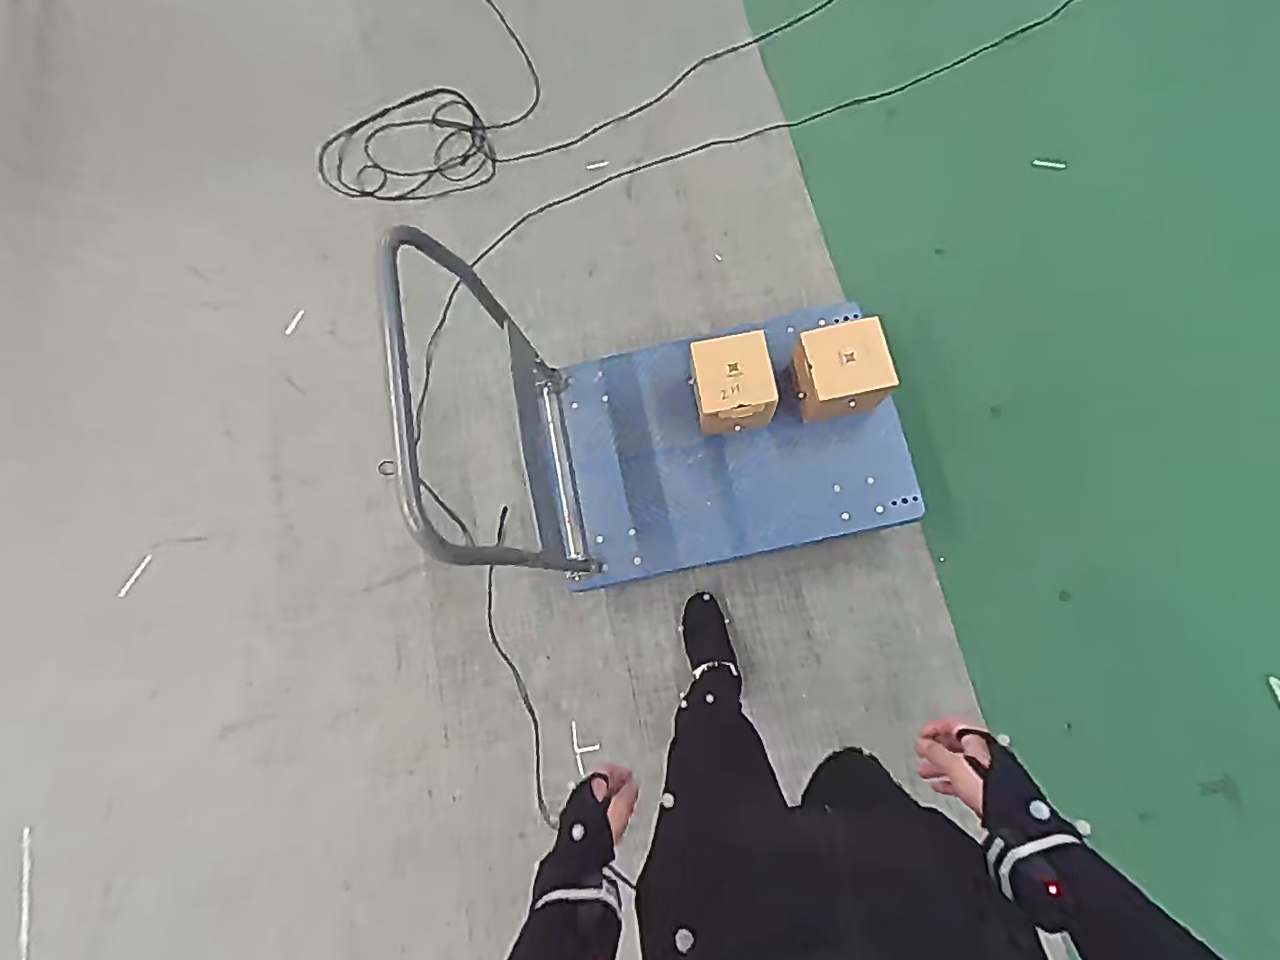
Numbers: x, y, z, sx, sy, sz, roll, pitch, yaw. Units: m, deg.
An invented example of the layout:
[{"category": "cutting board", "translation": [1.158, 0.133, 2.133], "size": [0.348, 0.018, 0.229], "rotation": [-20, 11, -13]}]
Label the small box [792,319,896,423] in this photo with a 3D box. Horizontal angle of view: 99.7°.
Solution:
[{"category": "small box", "translation": [0.458, -0.244, 1.252], "size": [0.179, 0.176, 0.168], "rotation": [-11, 77, 4]}]

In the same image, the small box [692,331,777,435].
[{"category": "small box", "translation": [0.214, -0.222, 1.271], "size": [0.168, 0.176, 0.179], "rotation": [-9, 77, 4]}]
